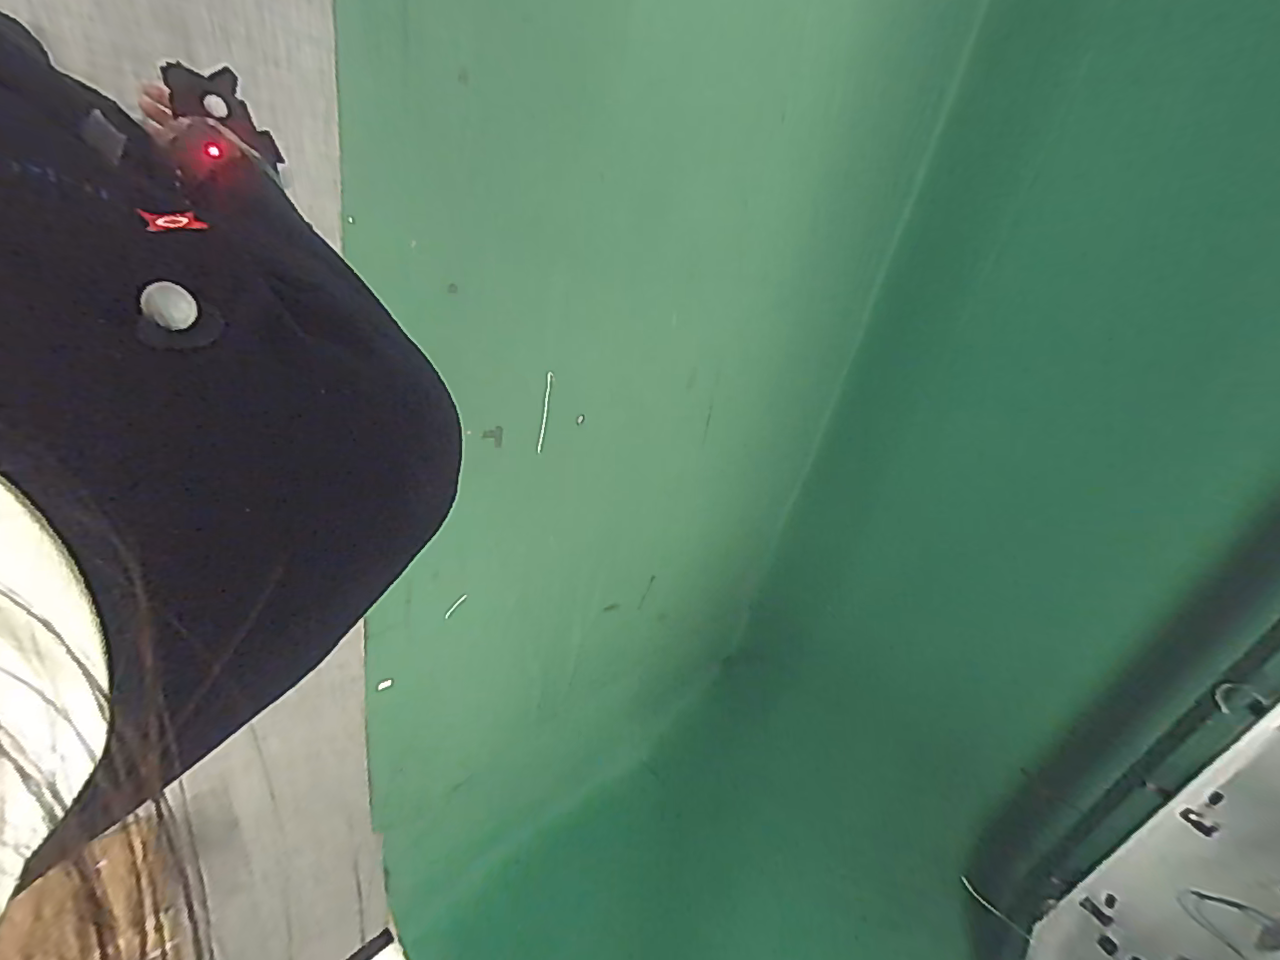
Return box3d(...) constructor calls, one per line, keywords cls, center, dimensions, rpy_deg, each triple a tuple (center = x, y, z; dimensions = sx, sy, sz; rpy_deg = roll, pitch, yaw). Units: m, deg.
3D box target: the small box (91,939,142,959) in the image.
box3d(cls="small box", center=(-1.356, 1.319, 1.344), dimensions=(0.179, 0.176, 0.168), rpy_deg=(-18, 126, -42))
